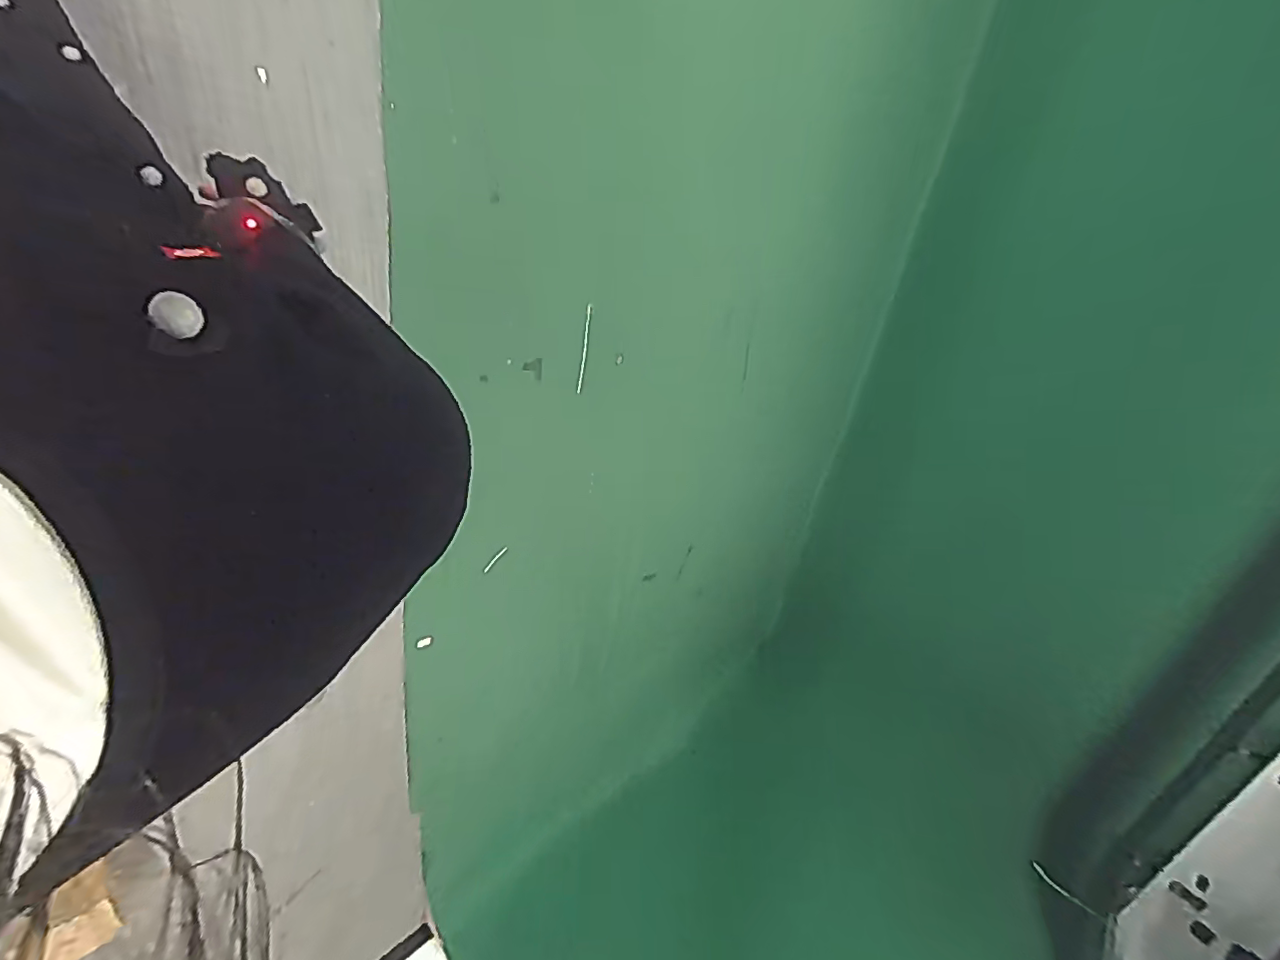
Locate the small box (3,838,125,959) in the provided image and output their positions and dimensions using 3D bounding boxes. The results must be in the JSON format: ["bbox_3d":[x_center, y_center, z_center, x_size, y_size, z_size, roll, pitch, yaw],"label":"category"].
[{"bbox_3d":[-1.438,1.060,1.354,0.179,0.176,0.168,-19,130,-43],"label":"small box"}]
